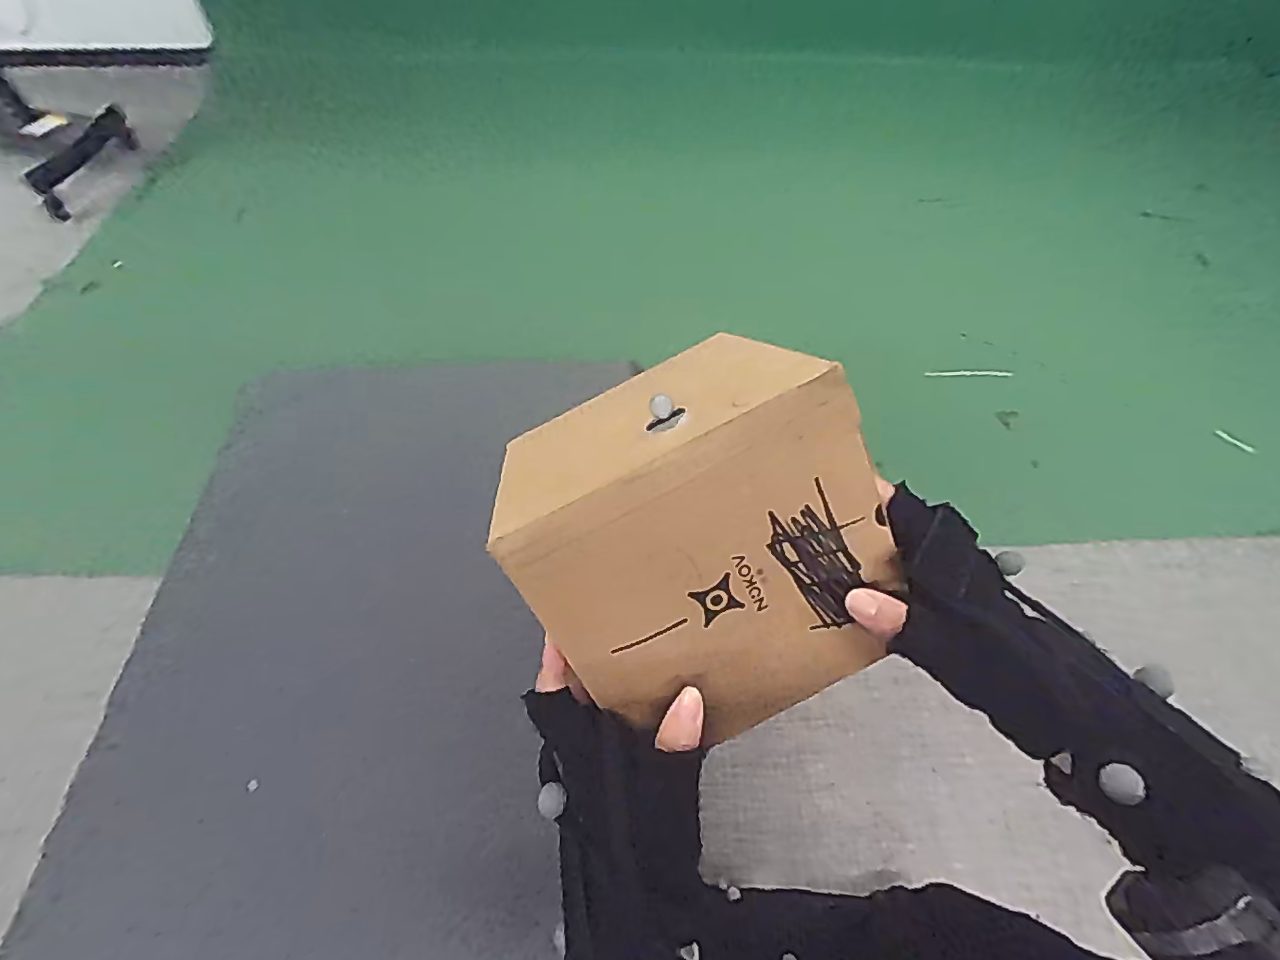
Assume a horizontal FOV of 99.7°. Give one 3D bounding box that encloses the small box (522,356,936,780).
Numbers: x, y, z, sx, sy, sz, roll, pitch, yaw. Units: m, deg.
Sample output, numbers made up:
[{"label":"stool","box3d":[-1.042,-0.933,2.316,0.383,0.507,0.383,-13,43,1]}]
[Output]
[{"label":"small box","box3d":[0.042,0.035,0.343,0.179,0.168,0.176,-26,21,1]}]
